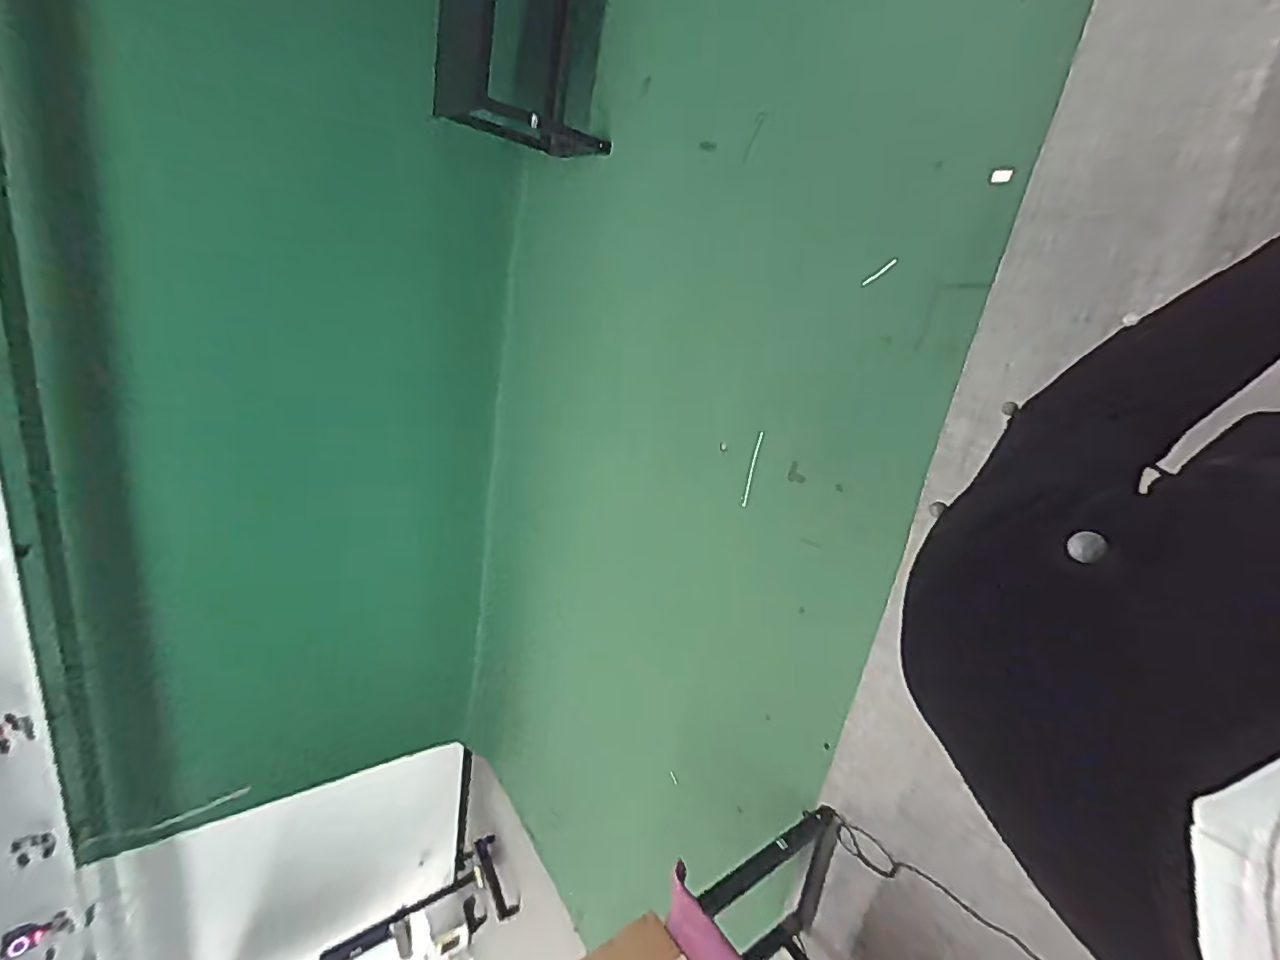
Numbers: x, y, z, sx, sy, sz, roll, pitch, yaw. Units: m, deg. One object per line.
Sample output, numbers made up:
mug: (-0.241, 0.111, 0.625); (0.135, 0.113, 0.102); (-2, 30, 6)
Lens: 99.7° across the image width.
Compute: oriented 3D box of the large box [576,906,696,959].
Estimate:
large box: (-0.011, 1.502, 1.462); (0.320, 0.320, 0.408); (29, 115, 46)
